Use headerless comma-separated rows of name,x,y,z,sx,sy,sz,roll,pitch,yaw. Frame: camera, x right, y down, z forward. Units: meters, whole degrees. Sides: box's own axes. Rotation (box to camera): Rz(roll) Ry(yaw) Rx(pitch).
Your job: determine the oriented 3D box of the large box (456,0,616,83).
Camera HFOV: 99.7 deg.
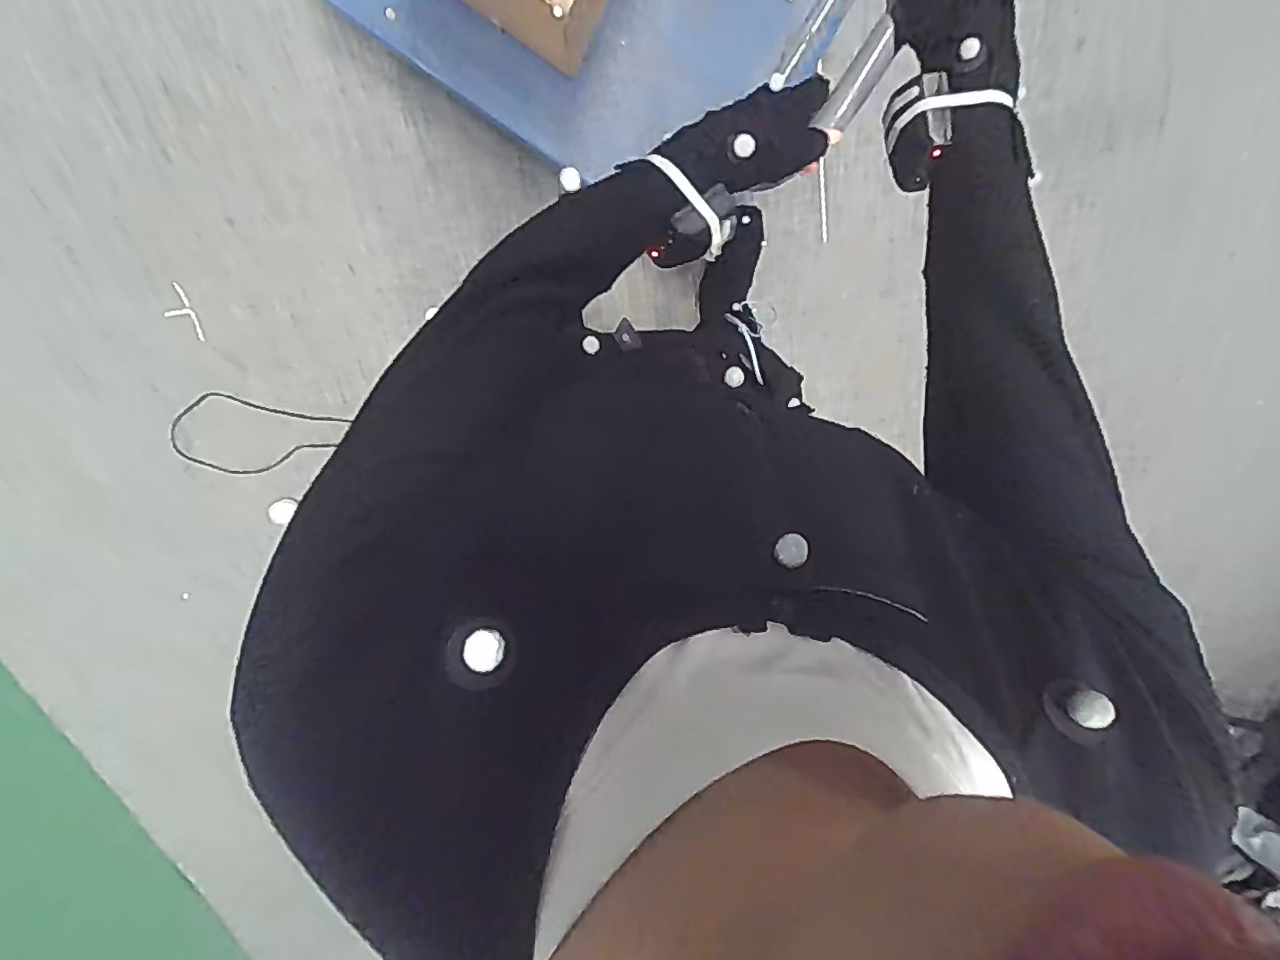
large box,-0.138,-0.910,0.784,0.320,0.320,0.408,27,109,-14
